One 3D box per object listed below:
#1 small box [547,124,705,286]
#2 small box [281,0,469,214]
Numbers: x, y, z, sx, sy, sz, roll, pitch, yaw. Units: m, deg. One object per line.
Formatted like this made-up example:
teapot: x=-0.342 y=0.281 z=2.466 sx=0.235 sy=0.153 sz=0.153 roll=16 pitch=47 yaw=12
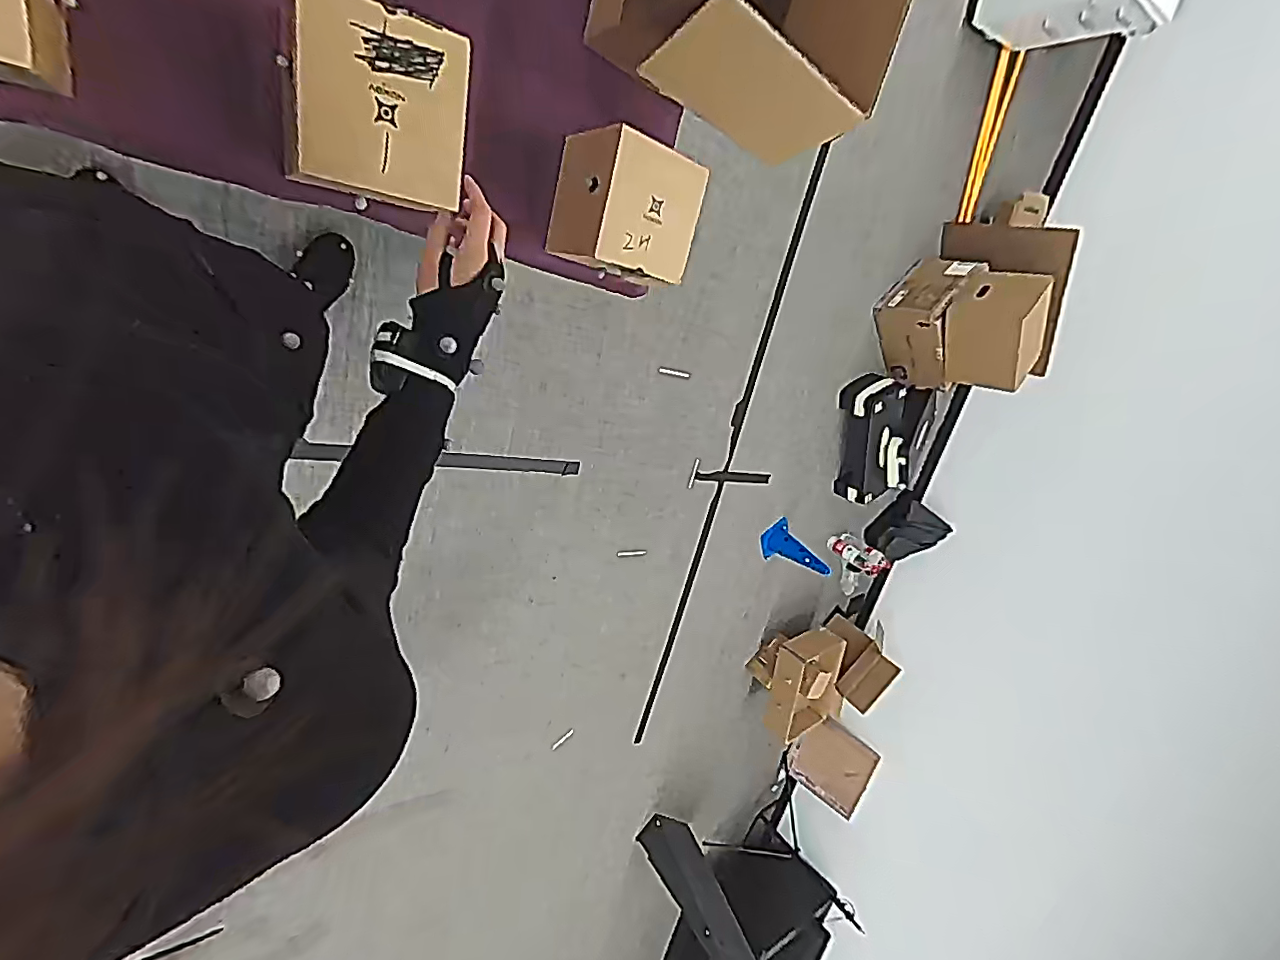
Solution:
small box: x=-0.030 y=-0.423 z=0.853 sx=0.168 sy=0.176 sz=0.179 roll=3 pitch=110 yaw=-38
small box: x=-0.315 y=-0.427 z=0.632 sx=0.168 sy=0.176 sz=0.179 roll=-3 pitch=115 yaw=-37
